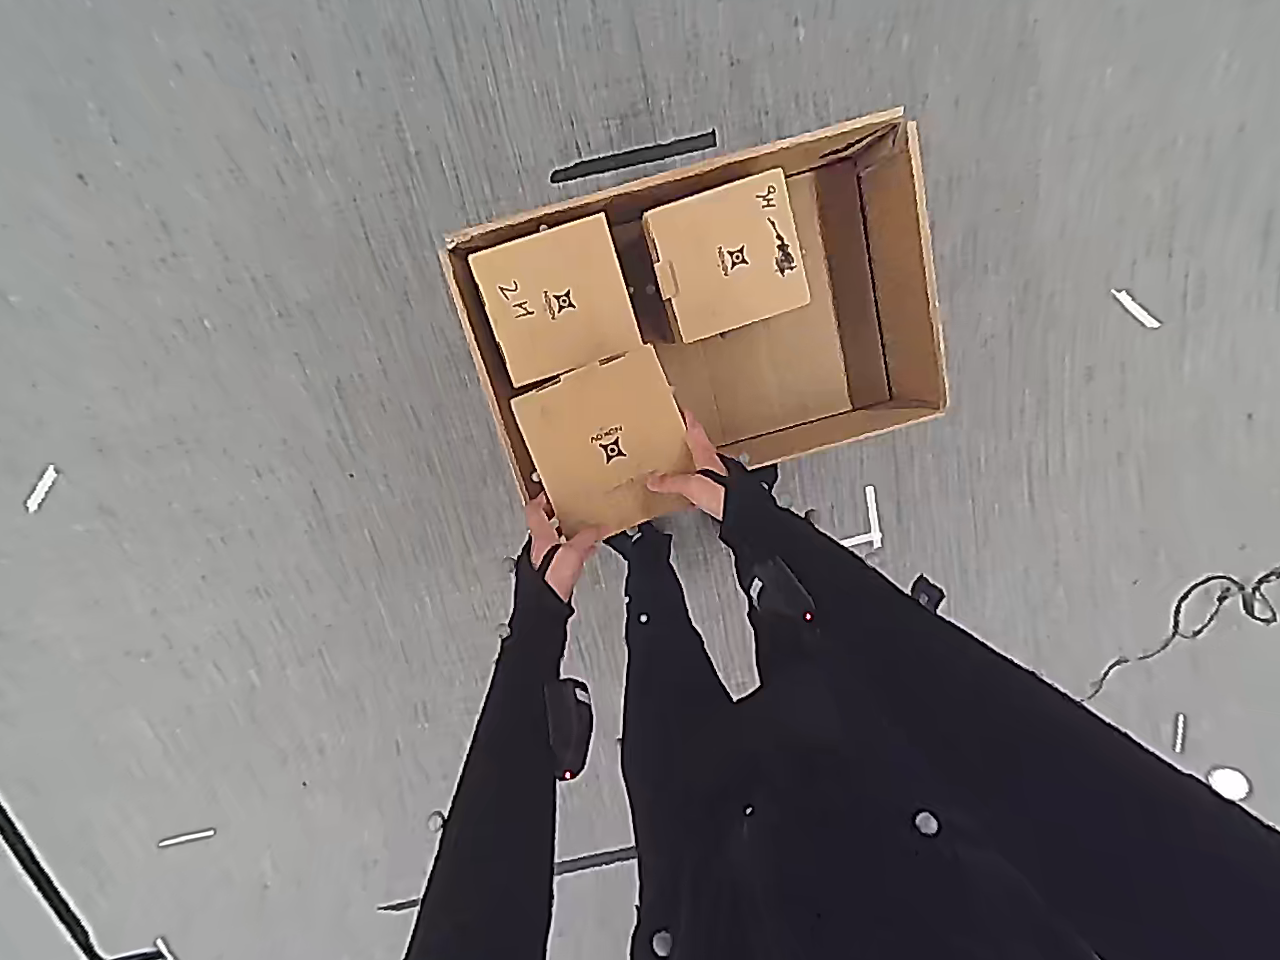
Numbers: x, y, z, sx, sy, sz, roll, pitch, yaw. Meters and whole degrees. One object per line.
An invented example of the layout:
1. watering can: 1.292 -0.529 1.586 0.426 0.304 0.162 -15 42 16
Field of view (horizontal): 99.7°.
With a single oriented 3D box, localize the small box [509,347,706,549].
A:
1. small box: -0.036 -0.032 0.651 0.168 0.176 0.179 -22 90 0
